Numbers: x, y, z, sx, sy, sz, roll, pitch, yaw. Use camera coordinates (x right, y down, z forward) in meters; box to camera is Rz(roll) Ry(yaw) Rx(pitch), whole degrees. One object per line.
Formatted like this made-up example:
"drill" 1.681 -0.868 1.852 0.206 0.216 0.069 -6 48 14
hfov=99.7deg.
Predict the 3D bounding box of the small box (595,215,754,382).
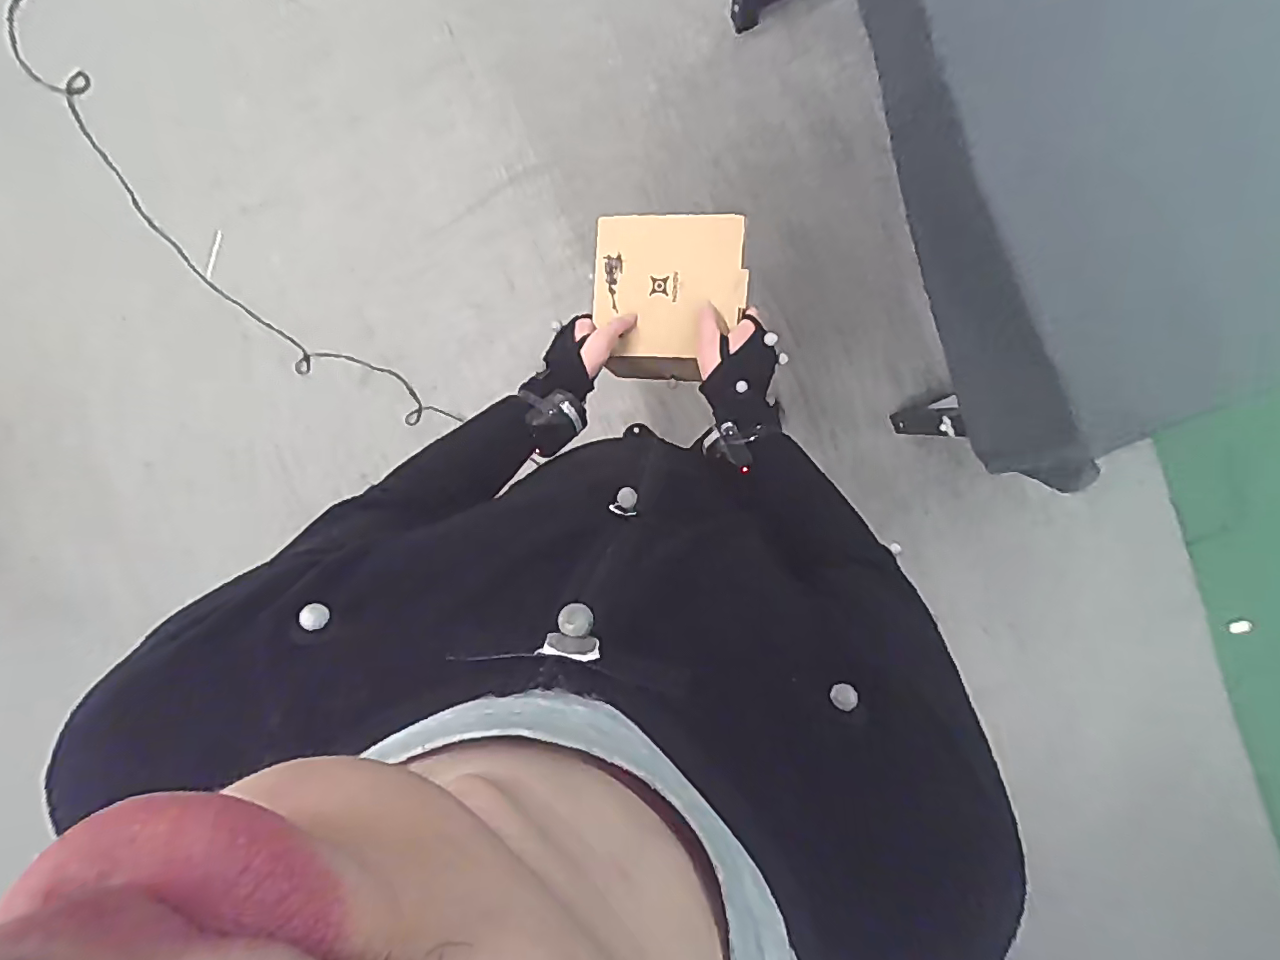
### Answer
"small box" 0.047 -0.223 0.702 0.179 0.176 0.168 4 92 7
